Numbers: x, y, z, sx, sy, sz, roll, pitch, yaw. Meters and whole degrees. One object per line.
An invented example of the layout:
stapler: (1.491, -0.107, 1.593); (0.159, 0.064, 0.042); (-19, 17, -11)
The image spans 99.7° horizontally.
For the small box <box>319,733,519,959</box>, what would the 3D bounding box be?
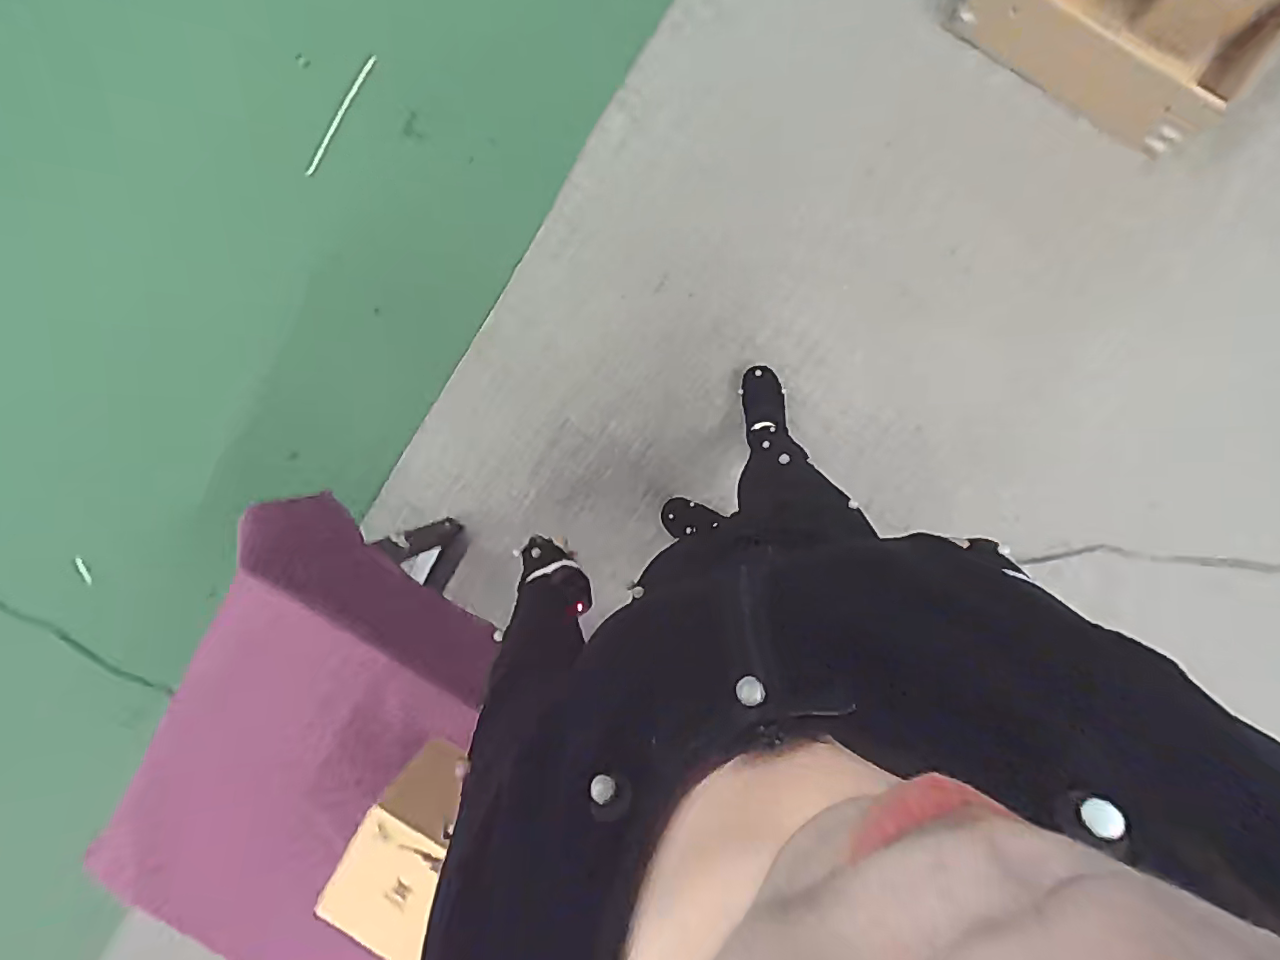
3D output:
small box: (-0.294, 0.503, 0.758); (0.168, 0.176, 0.179); (30, 97, 1)

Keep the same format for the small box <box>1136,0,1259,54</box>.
small box: (1.252, -1.095, 1.179); (0.168, 0.176, 0.179); (33, 97, 3)
